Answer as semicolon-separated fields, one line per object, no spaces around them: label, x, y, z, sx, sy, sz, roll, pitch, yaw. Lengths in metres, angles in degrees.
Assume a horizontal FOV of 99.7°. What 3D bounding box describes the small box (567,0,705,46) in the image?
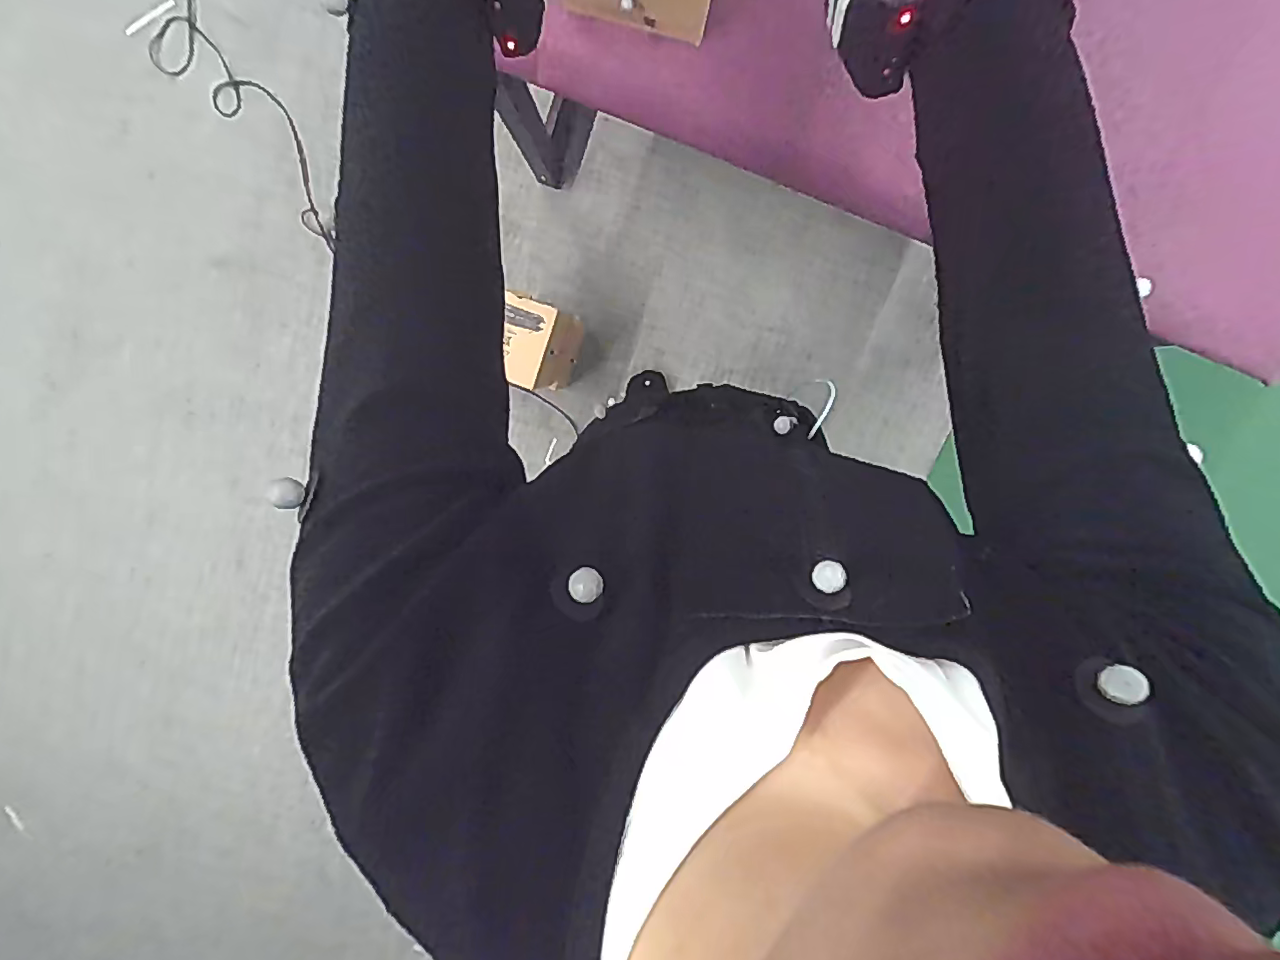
small box;0.007;-0.599;0.543;0.168;0.176;0.179;15;100;-3
